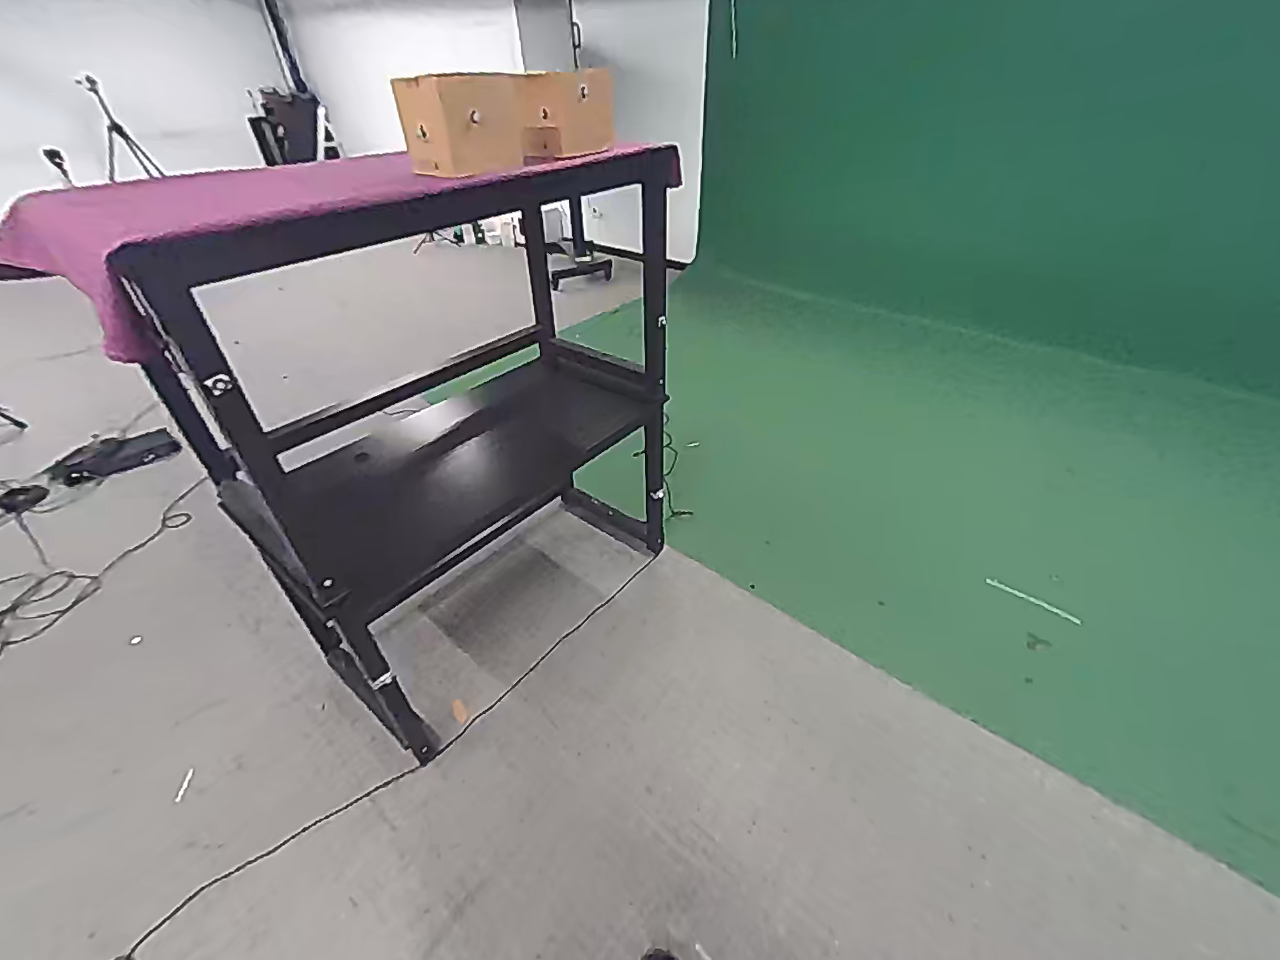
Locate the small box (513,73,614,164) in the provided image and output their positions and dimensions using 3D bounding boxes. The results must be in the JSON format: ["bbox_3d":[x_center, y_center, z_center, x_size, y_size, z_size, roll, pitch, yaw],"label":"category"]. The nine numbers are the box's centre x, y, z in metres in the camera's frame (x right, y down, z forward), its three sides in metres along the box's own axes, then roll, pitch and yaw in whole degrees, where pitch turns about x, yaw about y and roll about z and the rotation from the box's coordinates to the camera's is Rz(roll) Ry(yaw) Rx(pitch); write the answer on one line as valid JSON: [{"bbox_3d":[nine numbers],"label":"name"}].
[{"bbox_3d":[-0.179,-0.879,1.318,0.168,0.176,0.179,29,47,35],"label":"small box"}]

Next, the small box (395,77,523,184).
[{"bbox_3d":[-0.367,-0.725,1.125,0.168,0.176,0.179,27,47,33],"label":"small box"}]
